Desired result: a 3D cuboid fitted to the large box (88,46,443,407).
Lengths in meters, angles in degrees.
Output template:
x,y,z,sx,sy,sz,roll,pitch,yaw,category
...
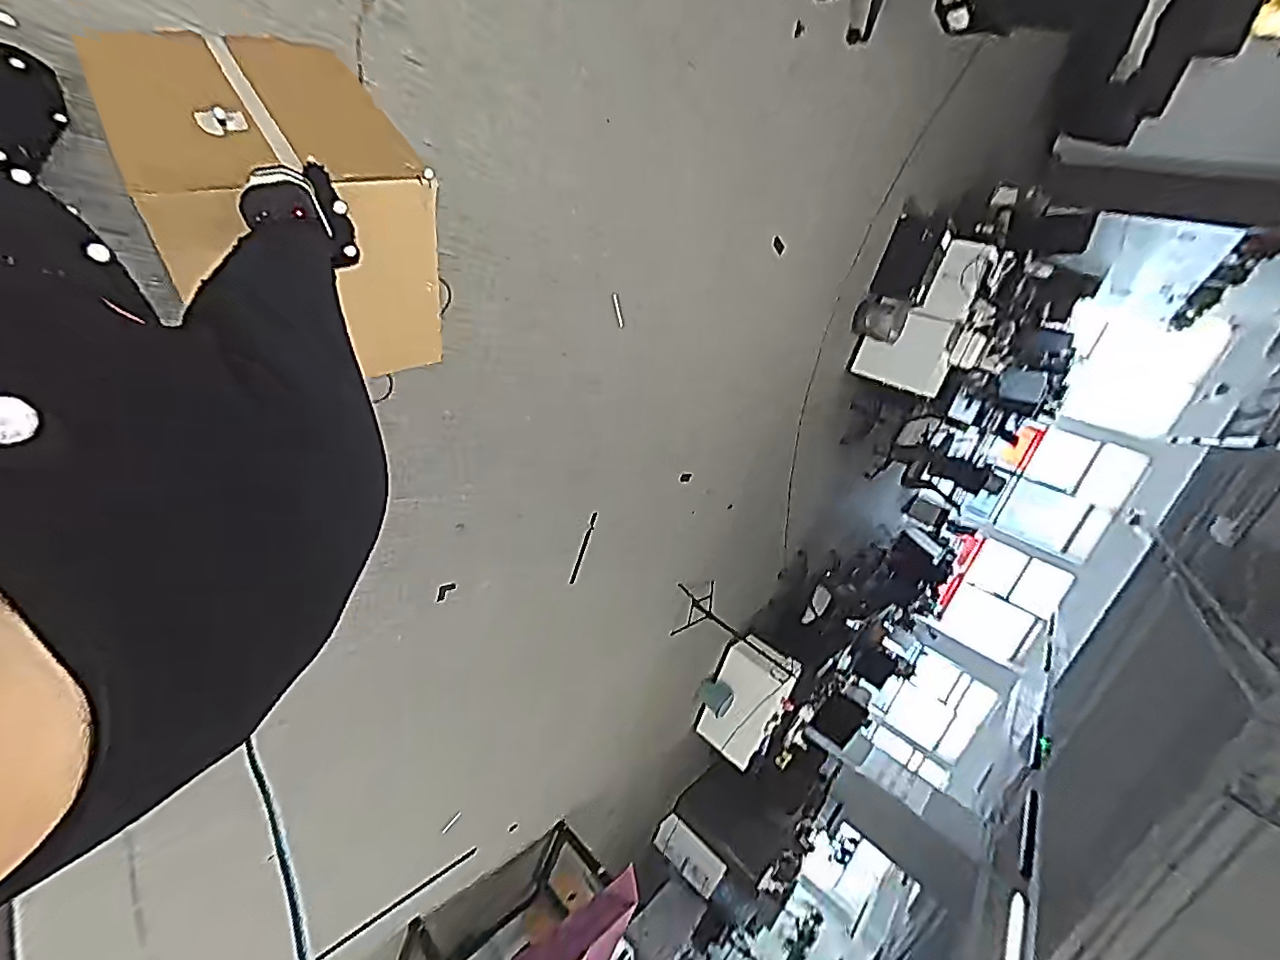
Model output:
x,y,z,sx,sy,sz,roll,pitch,yaw,category
-0.539,-0.384,0.833,0.320,0.408,0.320,-23,154,-32,large box
